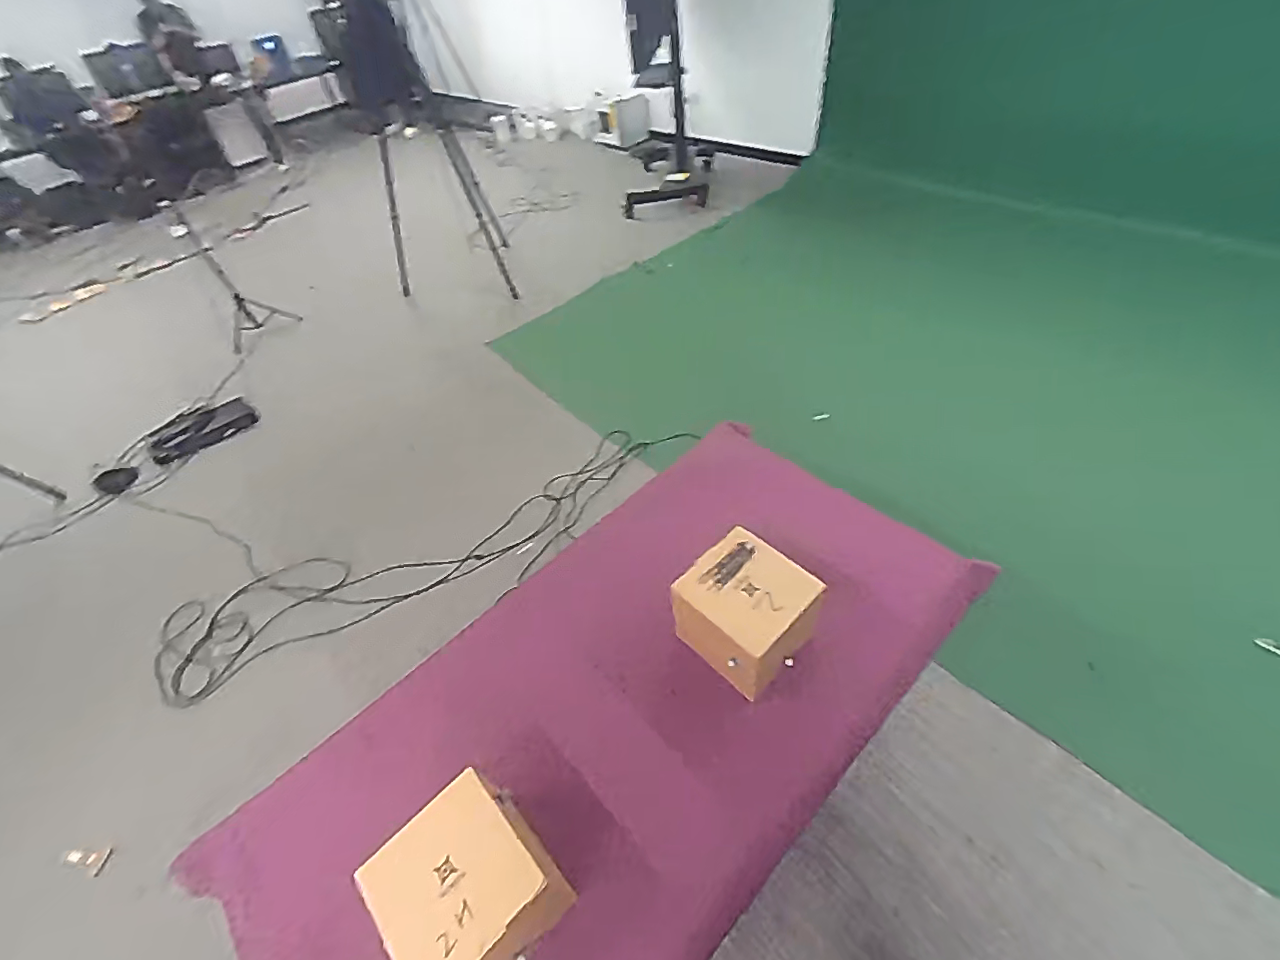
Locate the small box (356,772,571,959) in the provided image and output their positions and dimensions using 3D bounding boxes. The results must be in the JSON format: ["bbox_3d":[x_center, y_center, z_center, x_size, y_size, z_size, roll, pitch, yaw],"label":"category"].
[{"bbox_3d":[-0.213,0.519,0.683,0.168,0.176,0.179,-39,52,-24],"label":"small box"}]
